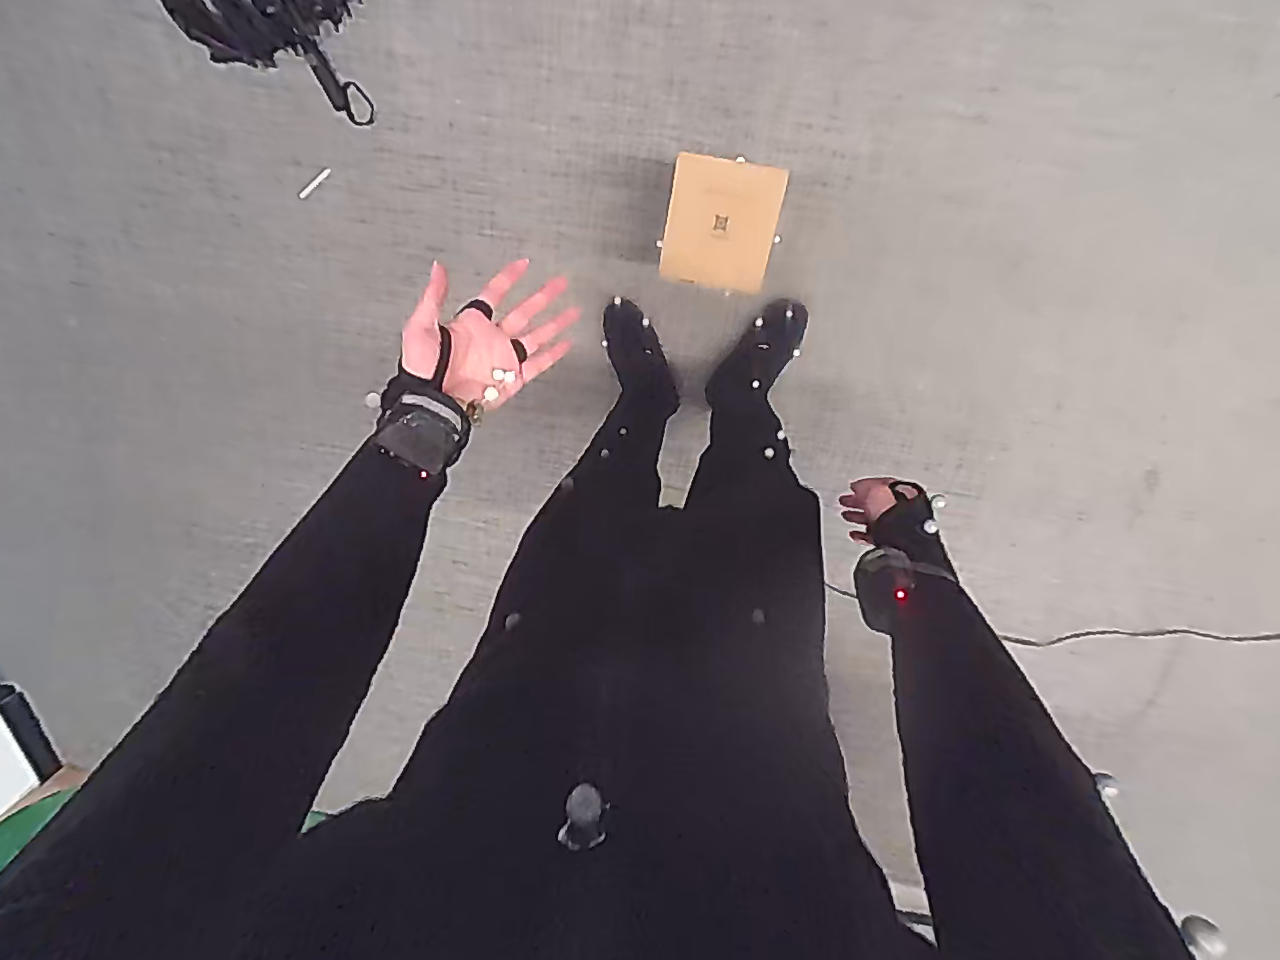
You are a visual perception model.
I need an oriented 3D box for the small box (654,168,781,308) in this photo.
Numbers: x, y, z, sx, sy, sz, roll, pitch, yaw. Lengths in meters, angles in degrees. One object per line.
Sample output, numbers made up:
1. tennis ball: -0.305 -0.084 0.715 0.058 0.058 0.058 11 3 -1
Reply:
1. small box: 0.123 -0.398 0.898 0.168 0.176 0.179 10 115 1
